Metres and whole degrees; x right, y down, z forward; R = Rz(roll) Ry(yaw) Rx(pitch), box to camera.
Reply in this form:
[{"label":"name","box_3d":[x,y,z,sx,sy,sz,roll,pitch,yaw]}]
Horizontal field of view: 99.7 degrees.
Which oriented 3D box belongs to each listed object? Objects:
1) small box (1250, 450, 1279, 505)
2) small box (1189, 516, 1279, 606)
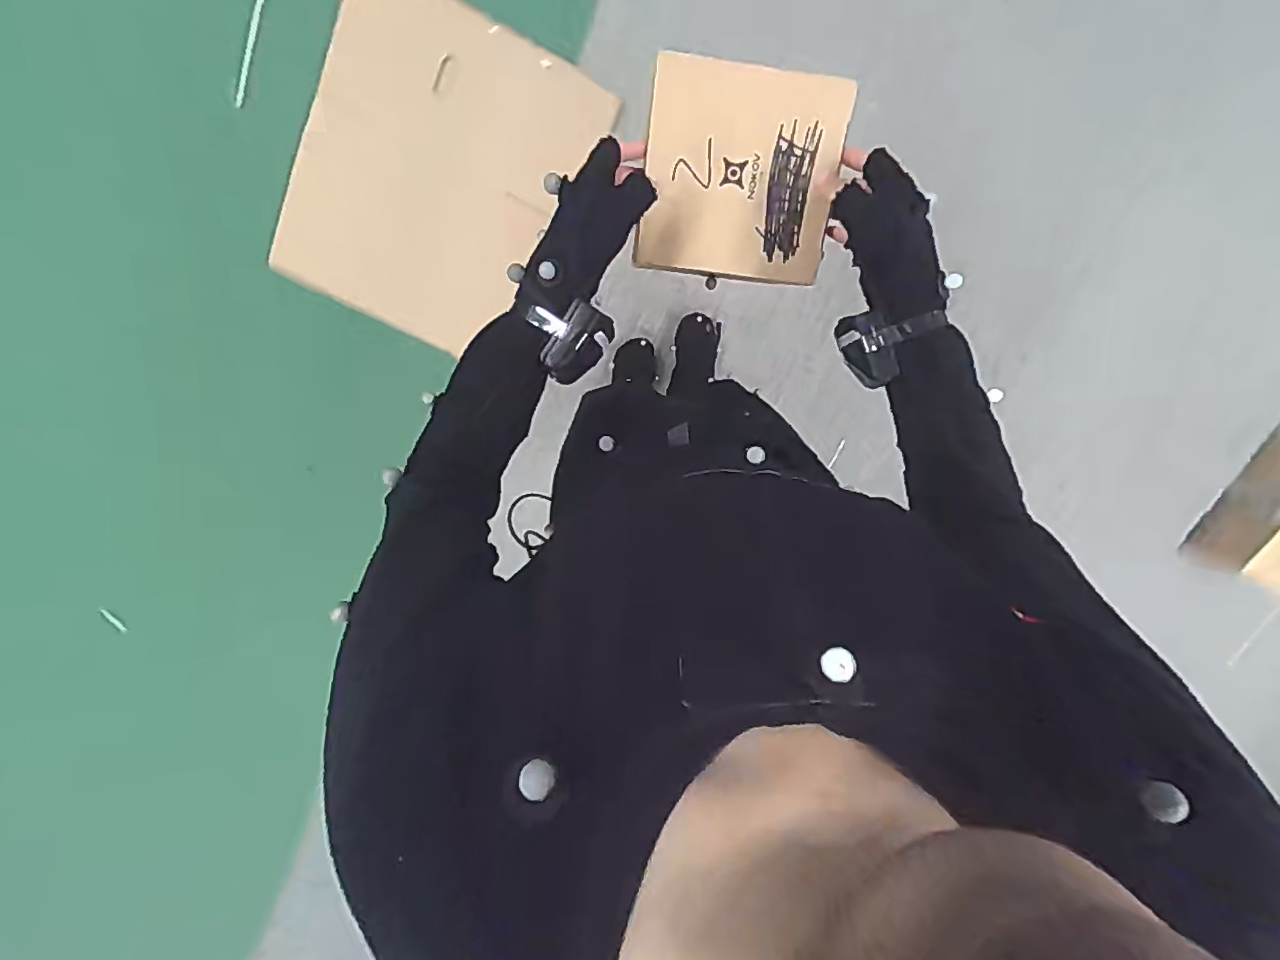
[{"label":"small box","box_3d":[1.835,0.009,1.452,0.179,0.176,0.168,19,105,-7]},{"label":"small box","box_3d":[1.721,0.221,1.509,0.179,0.176,0.168,30,104,-9]}]
